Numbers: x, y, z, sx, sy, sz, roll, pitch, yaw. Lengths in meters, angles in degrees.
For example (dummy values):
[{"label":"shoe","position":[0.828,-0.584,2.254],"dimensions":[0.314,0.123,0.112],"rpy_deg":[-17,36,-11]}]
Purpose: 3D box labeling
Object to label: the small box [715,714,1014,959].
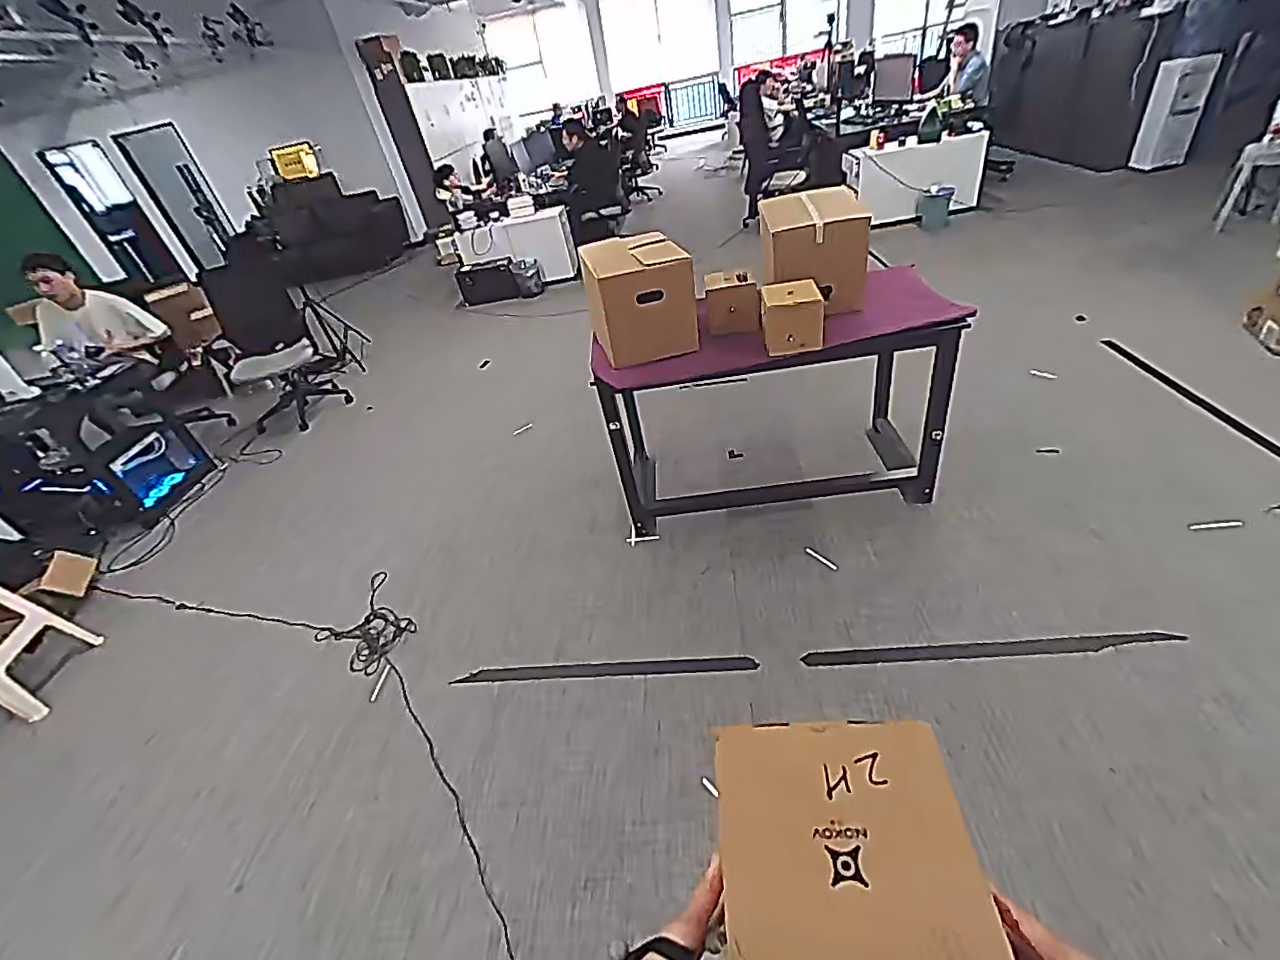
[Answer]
[{"label":"small box","position":[0.149,0.302,0.410],"dimensions":[0.168,0.176,0.179],"rpy_deg":[-5,40,8]}]
